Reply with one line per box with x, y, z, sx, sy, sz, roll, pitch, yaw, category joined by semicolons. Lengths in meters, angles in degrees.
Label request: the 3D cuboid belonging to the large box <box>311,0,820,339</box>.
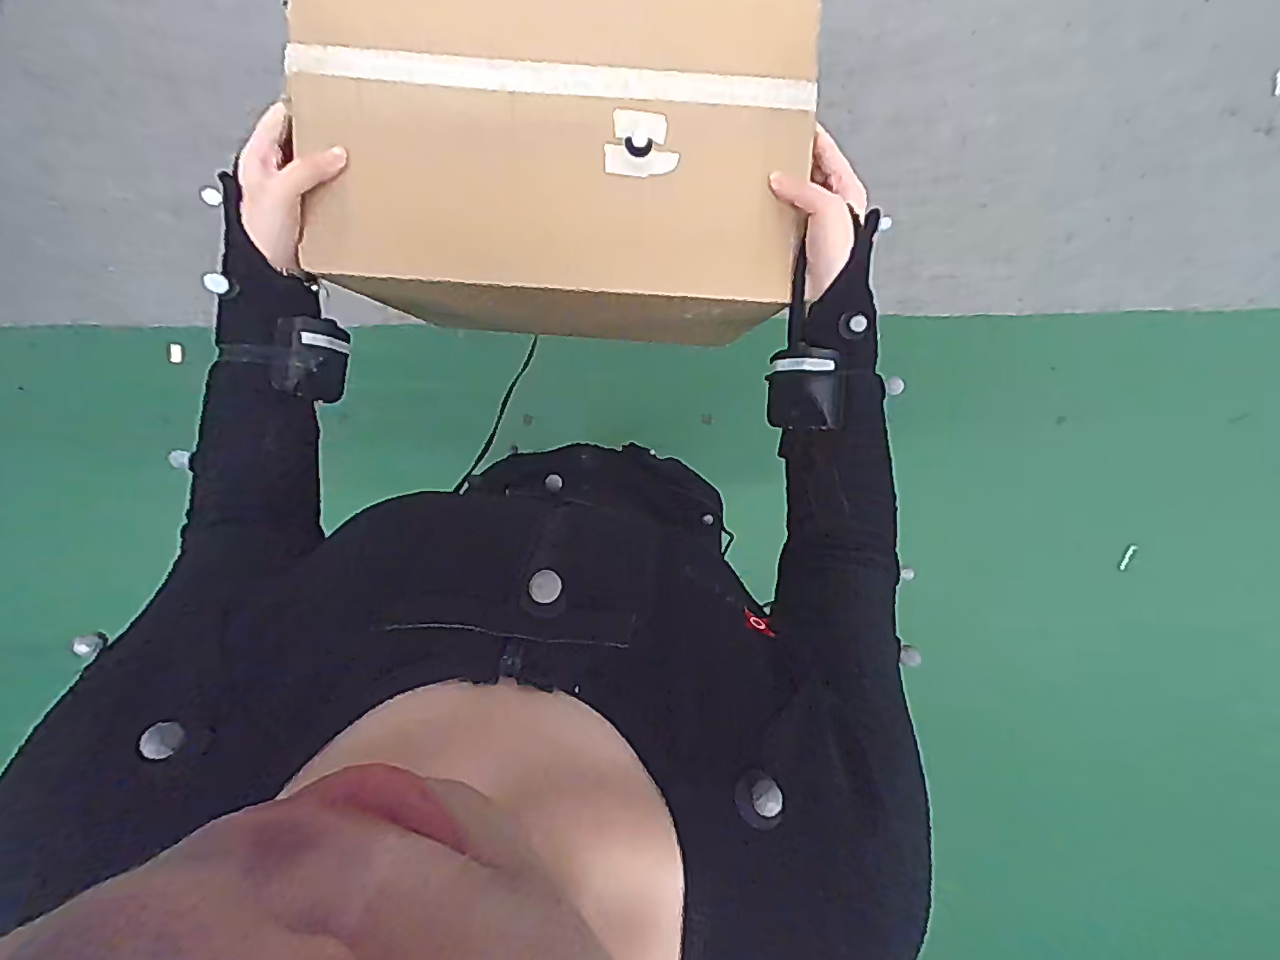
-0.066;-0.333;0.577;0.408;0.320;0.320;3;98;-4;large box
